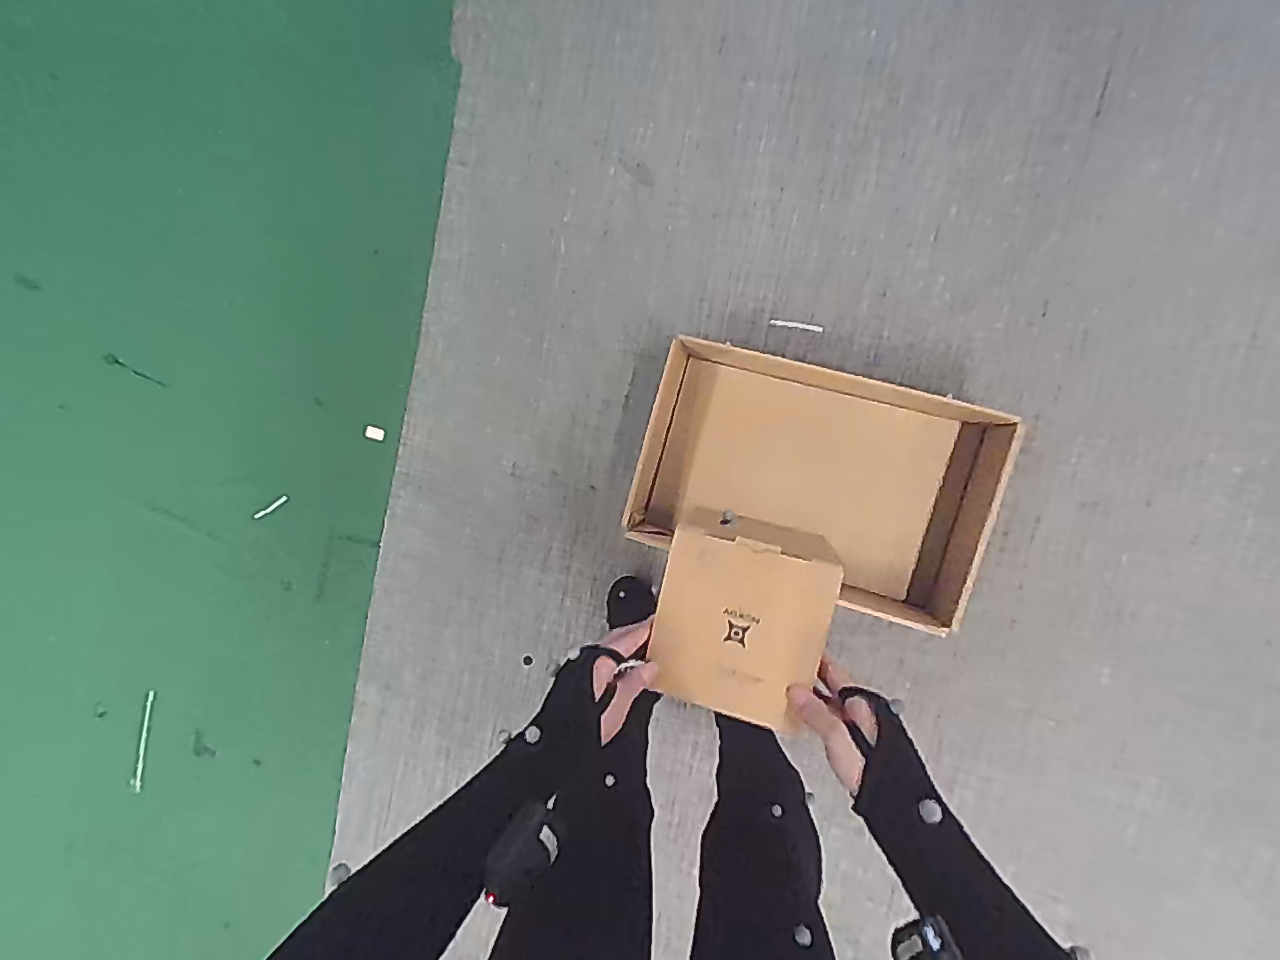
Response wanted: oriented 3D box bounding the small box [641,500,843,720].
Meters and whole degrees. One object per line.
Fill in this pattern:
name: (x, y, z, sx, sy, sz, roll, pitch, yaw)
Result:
small box: (0.113, 0.127, 0.609, 0.168, 0.176, 0.179, 14, 97, 12)
